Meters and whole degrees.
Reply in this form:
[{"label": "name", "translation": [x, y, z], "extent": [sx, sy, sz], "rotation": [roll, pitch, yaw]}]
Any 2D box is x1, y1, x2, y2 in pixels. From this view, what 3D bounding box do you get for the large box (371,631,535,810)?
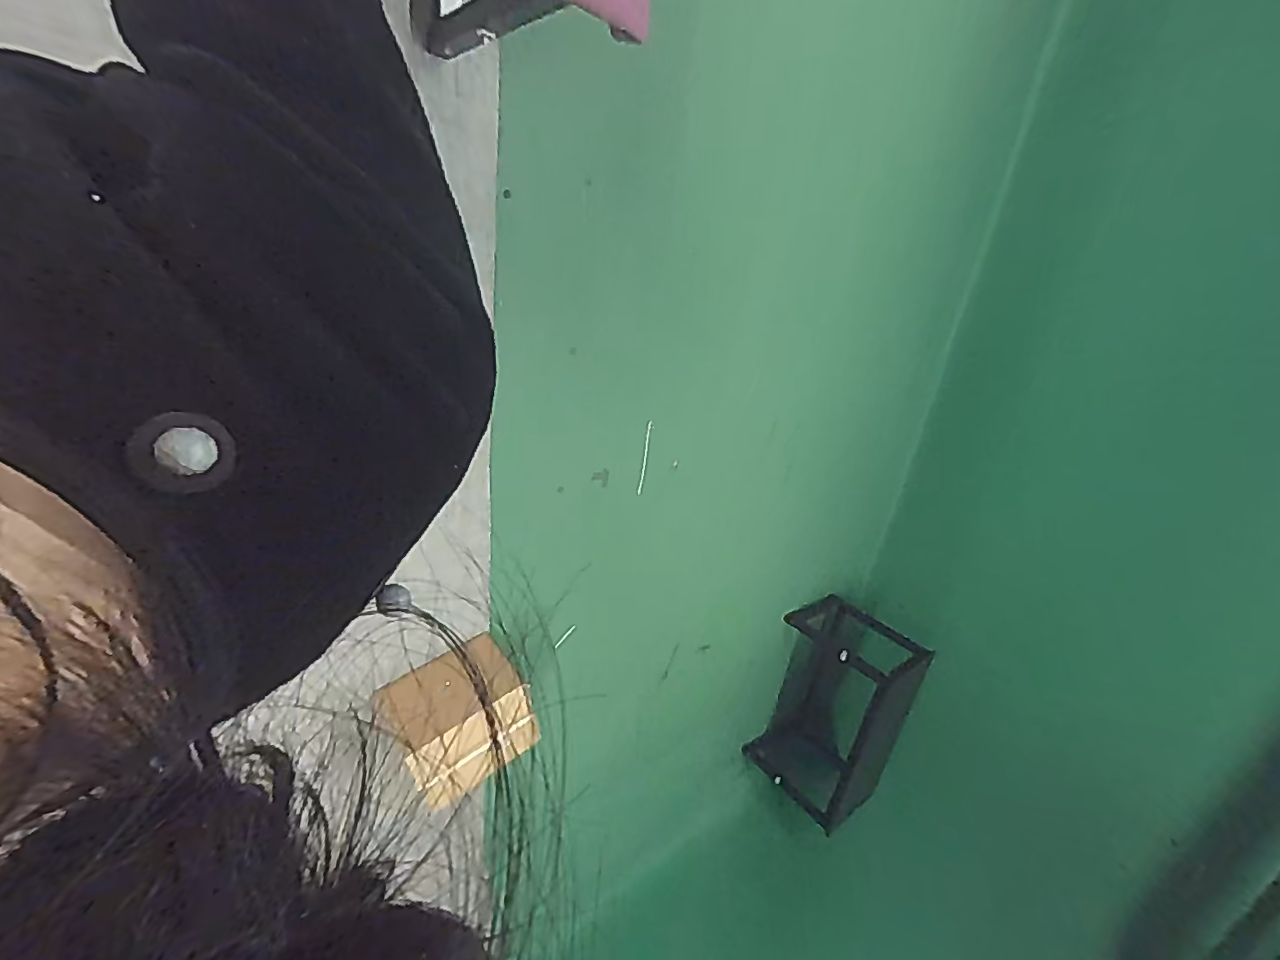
[{"label": "large box", "translation": [-0.631, 0.803, 1.853], "extent": [0.408, 0.320, 0.320], "rotation": [-26, 128, -31]}]
